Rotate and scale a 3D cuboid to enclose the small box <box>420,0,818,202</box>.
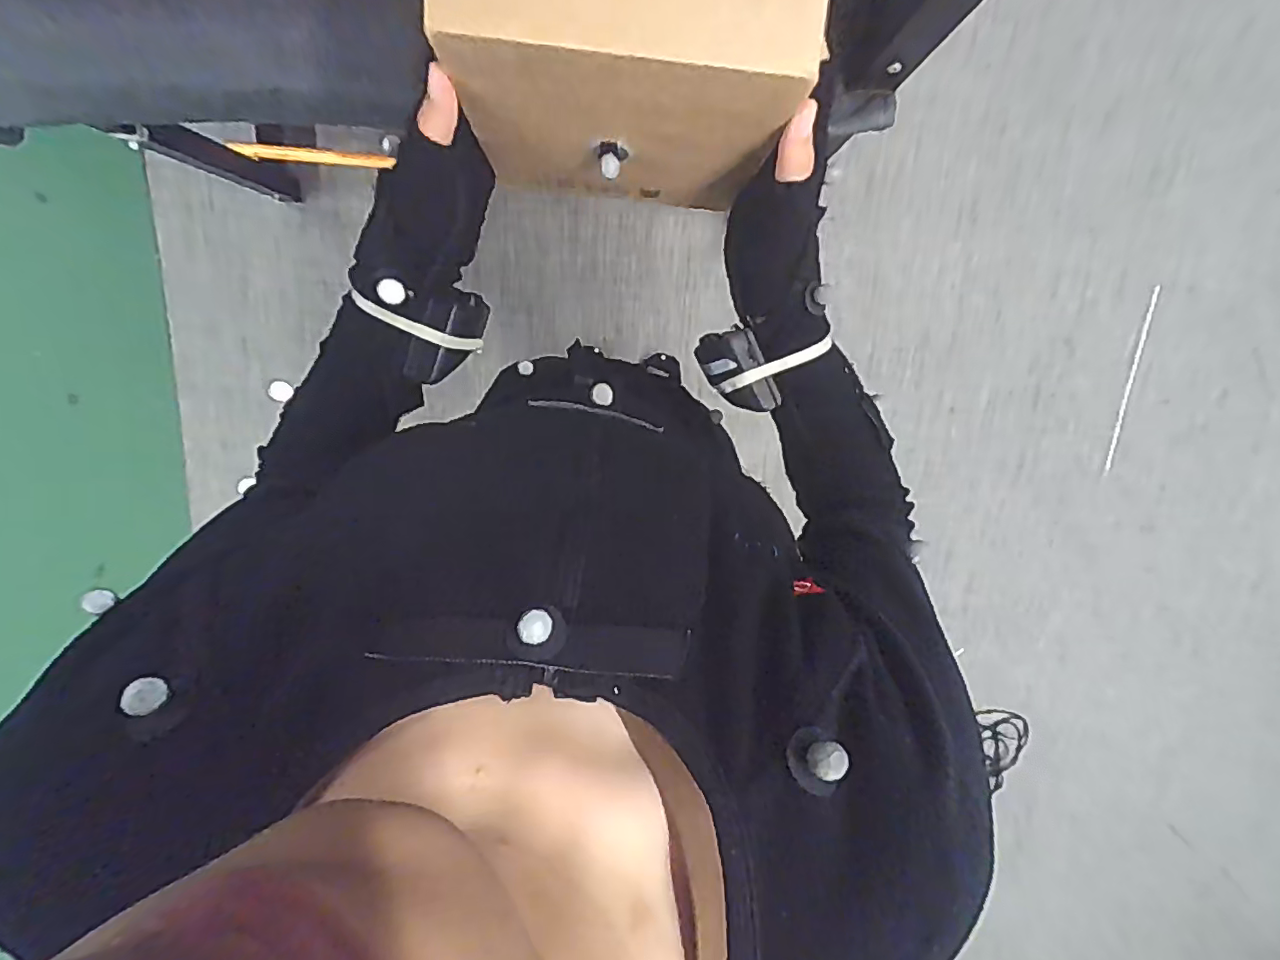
[{"bbox_3d":[-0.006,-0.273,0.291,0.168,0.176,0.179,4,97,-5],"label":"small box"}]
